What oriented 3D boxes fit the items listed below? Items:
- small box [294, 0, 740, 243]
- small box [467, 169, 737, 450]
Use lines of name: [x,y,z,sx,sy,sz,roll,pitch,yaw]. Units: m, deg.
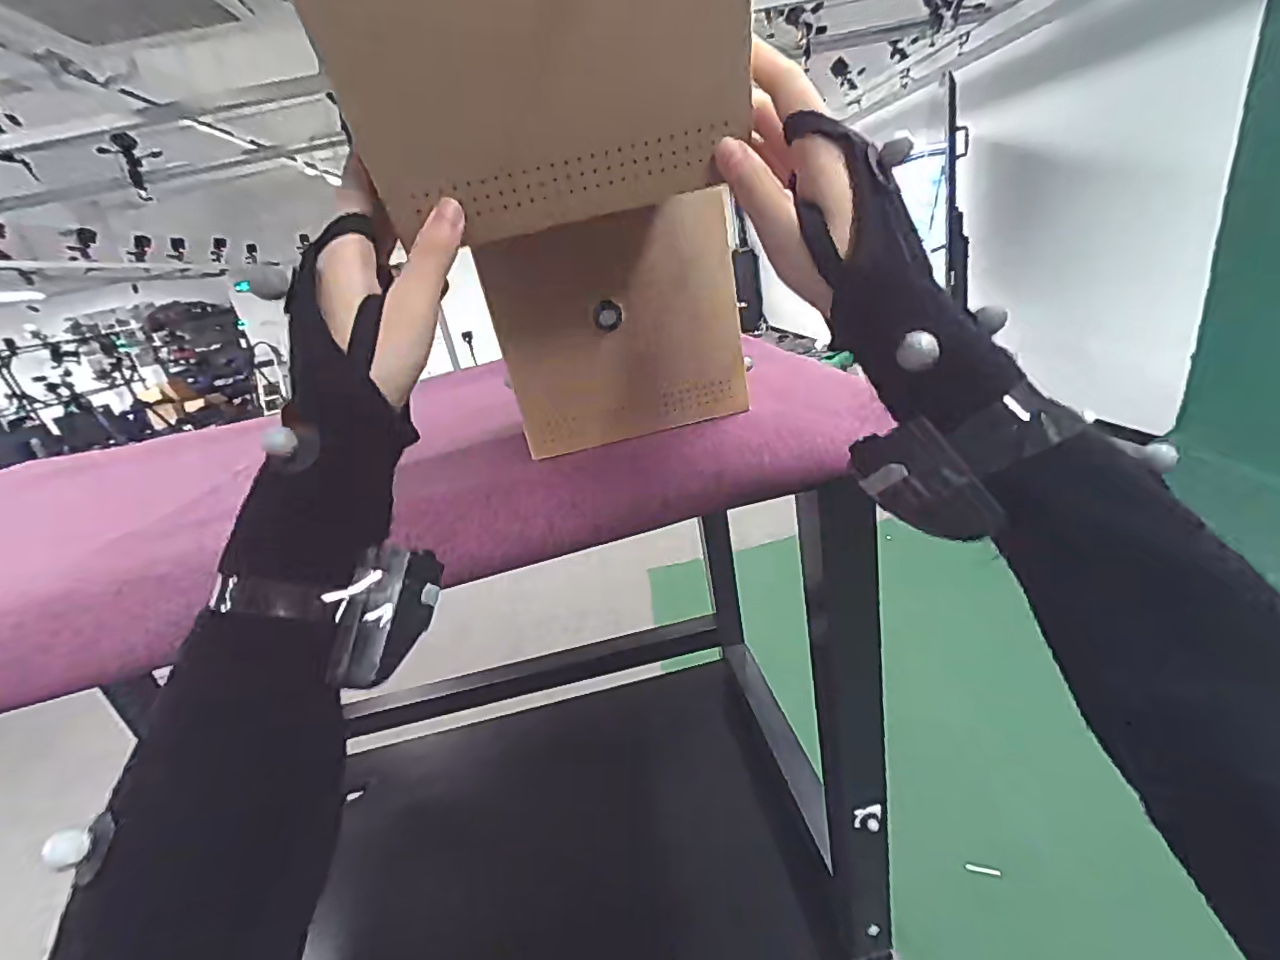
small box: [-0.056,-0.241,0.258,0.179,0.176,0.168,-15,46,-3]
small box: [-0.024,-0.141,0.459,0.179,0.176,0.168,-14,22,-2]
